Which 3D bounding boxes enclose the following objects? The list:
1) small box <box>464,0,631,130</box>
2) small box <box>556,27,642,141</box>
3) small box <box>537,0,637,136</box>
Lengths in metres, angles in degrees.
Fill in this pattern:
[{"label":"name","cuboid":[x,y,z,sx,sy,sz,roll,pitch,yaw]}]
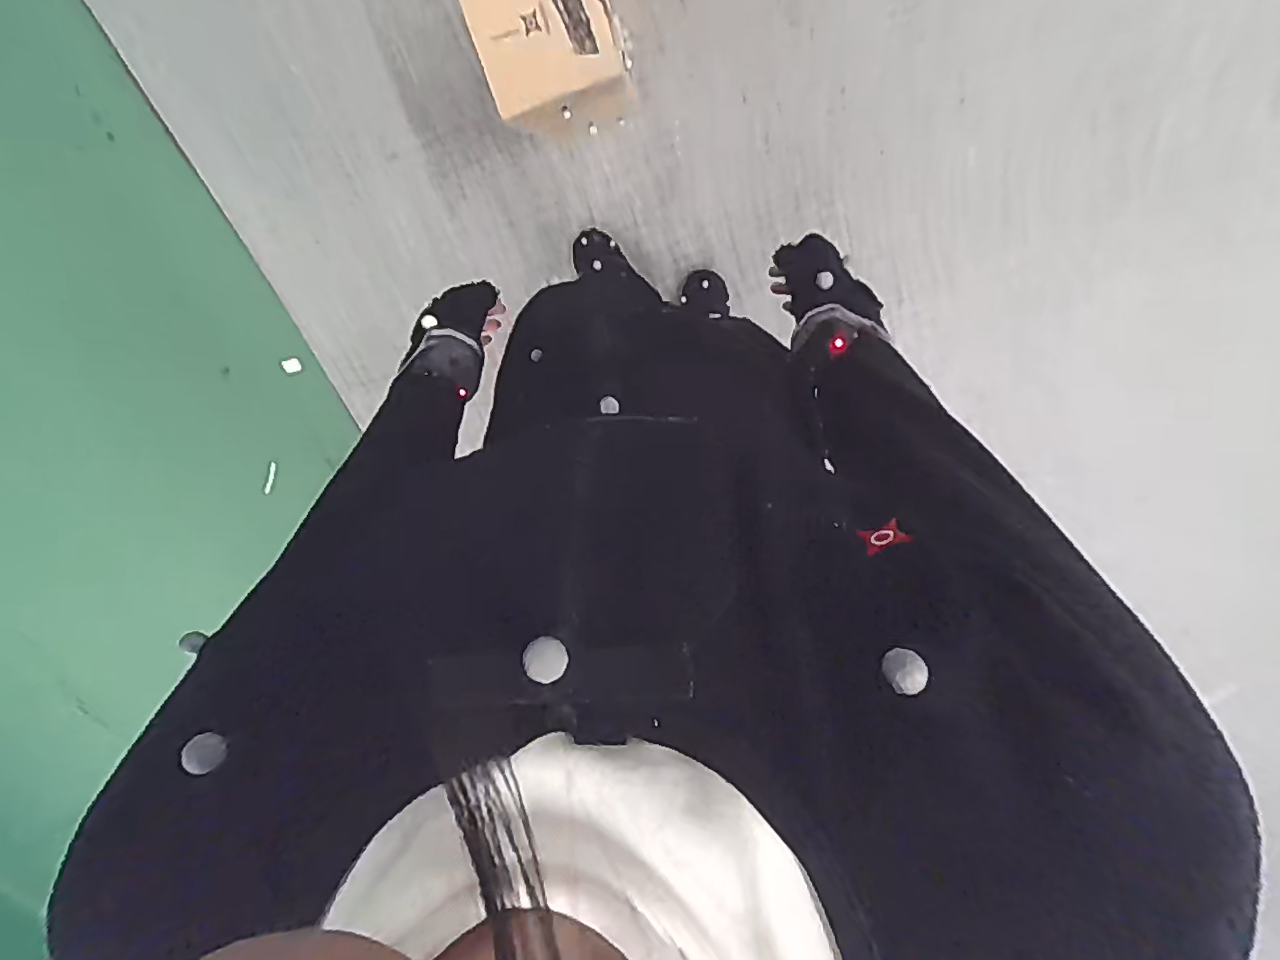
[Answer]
[{"label":"small box","cuboid":[-0.119,-0.617,0.755,0.179,0.176,0.168,-17,116,11]},{"label":"small box","cuboid":[-0.100,-0.778,1.041,0.179,0.176,0.168,-15,116,13]},{"label":"small box","cuboid":[-0.107,-0.695,0.900,0.179,0.176,0.168,-12,117,9]}]
